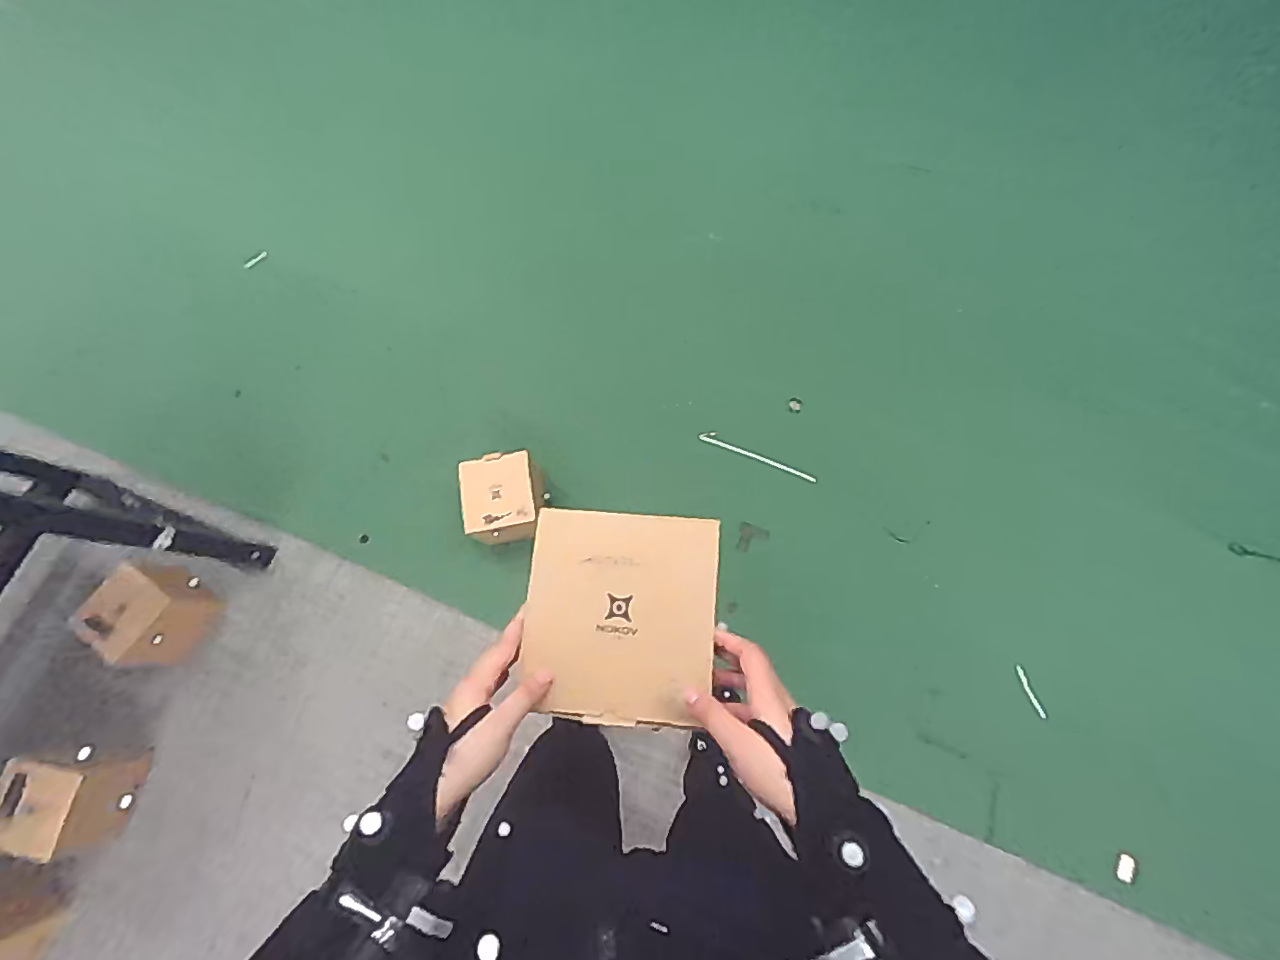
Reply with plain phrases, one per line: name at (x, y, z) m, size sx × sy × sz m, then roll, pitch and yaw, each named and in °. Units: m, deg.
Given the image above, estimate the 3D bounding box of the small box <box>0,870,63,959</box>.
small box at (-1.385, 0.959, 1.120) m, size 0.179 × 0.176 × 0.168 m, roll 25°, pitch 78°, yaw 9°

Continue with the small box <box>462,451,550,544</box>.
small box at (-0.324, 0.048, 1.322) m, size 0.168 × 0.176 × 0.179 m, roll -10°, pitch 74°, yaw 0°

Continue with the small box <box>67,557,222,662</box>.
small box at (-1.161, 0.309, 1.283) m, size 0.168 × 0.176 × 0.179 m, roll 34°, pitch 77°, yaw 10°
